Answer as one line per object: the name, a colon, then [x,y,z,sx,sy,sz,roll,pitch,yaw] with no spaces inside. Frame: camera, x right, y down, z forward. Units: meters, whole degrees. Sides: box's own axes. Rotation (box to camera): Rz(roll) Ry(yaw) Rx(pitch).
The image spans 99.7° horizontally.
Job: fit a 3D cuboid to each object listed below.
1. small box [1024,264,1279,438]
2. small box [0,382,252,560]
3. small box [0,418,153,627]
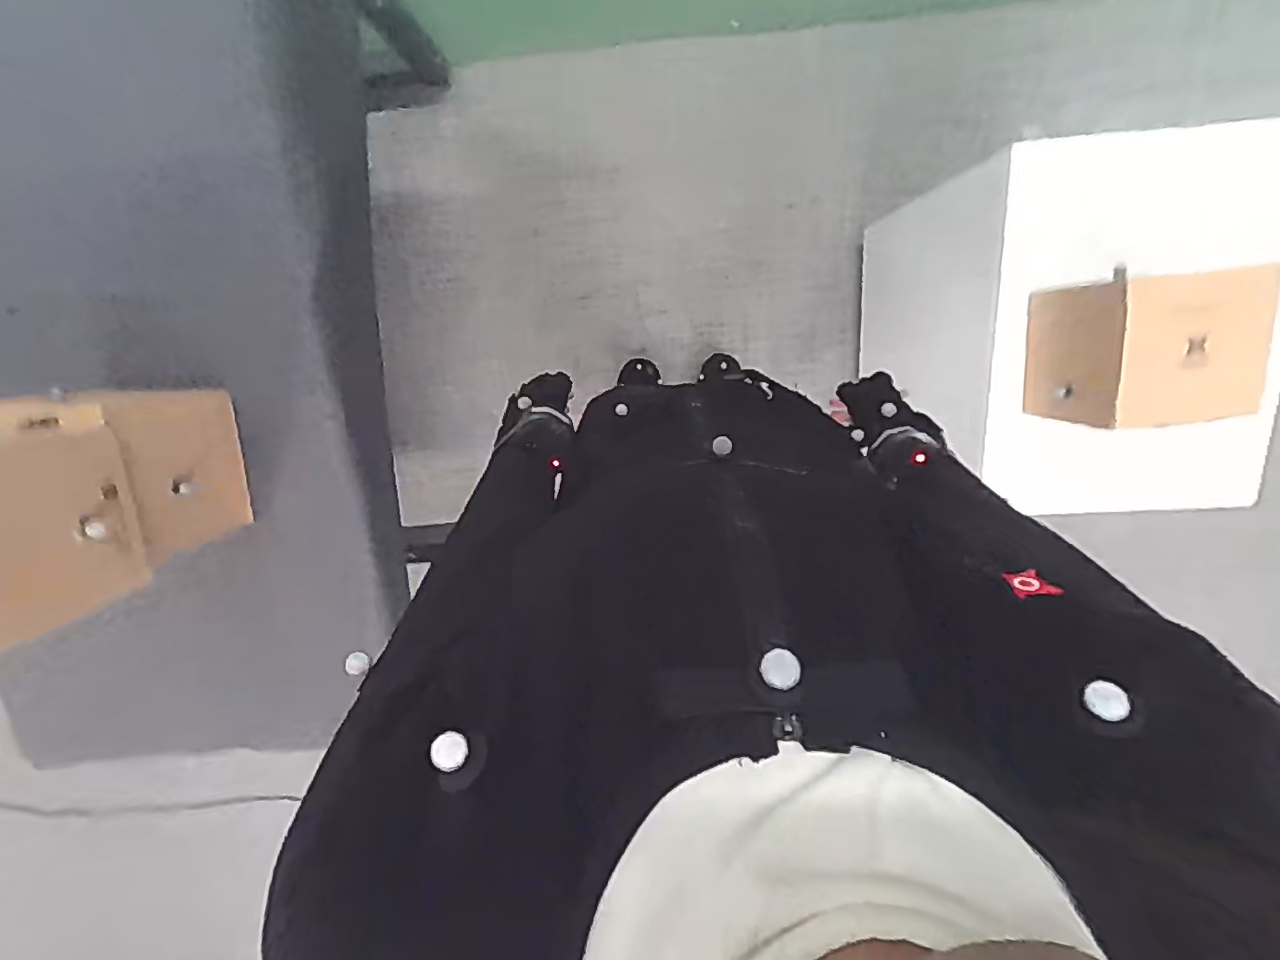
small box: [0.615,-0.158,0.673,0.168,0.176,0.179,-6,103,3]
small box: [-0.603,-0.018,0.640,0.168,0.176,0.179,1,105,3]
small box: [-0.608,0.039,0.485,0.179,0.176,0.168,-3,104,6]
